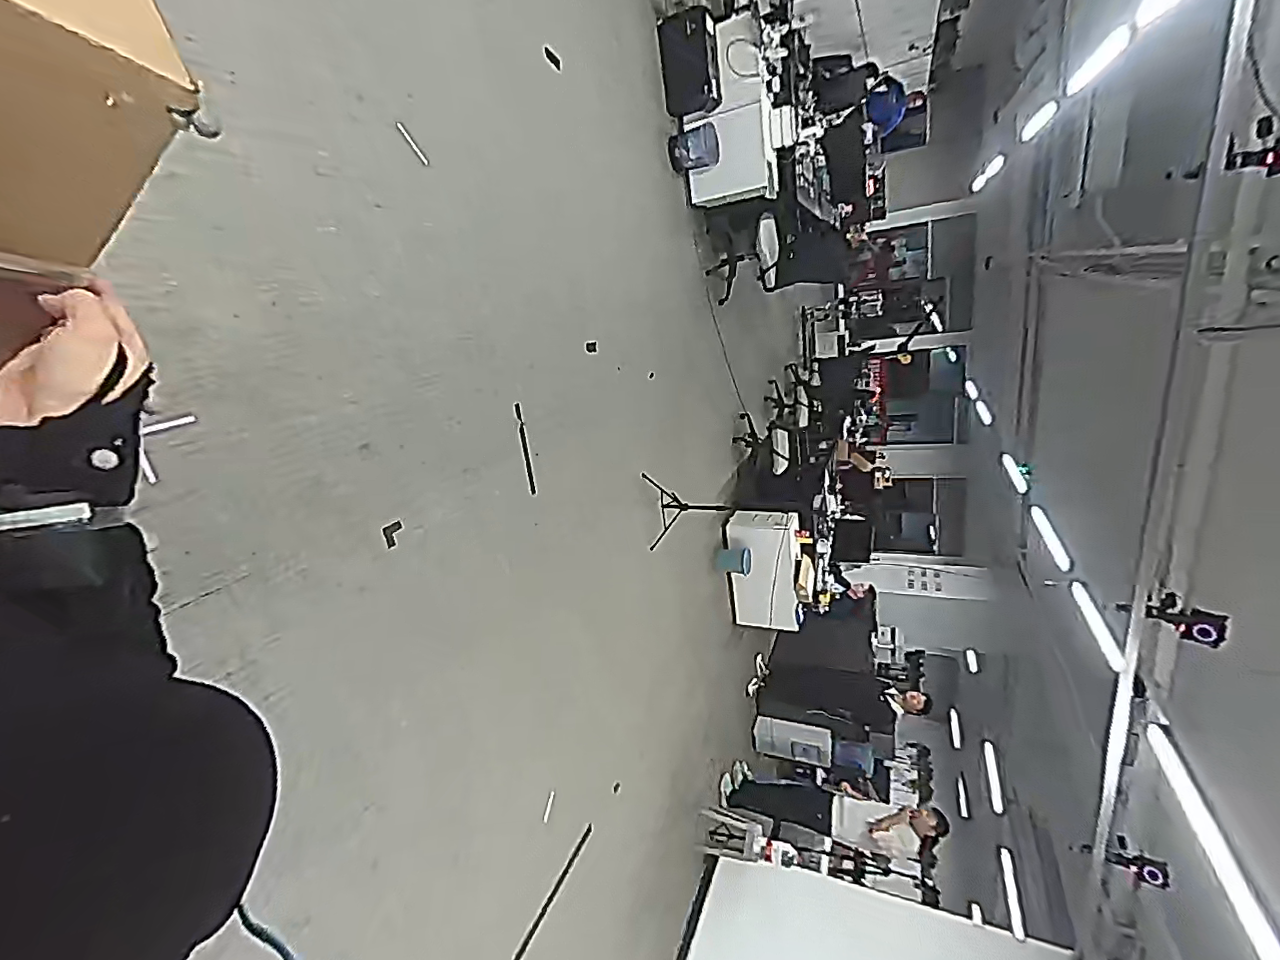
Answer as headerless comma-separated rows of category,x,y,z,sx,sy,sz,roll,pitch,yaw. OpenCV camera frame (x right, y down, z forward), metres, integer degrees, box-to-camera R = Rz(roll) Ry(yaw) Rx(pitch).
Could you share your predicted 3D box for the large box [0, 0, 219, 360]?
large box,-0.483,-0.265,0.173,0.320,0.320,0.408,63,24,5
